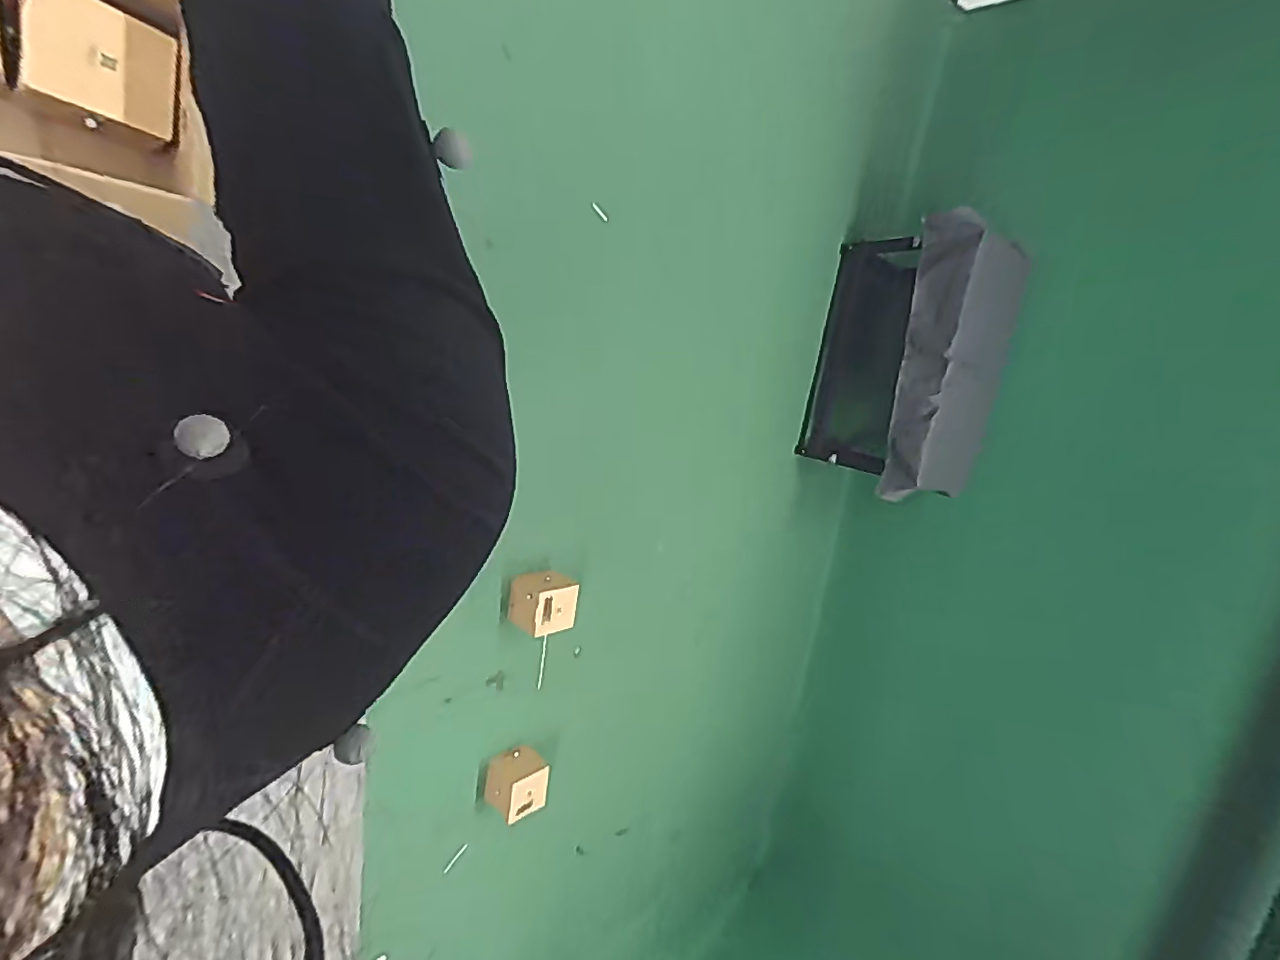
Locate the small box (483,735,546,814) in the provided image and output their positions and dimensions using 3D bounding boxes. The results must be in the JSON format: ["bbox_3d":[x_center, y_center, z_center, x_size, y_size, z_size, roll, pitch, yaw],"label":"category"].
[{"bbox_3d":[-0.487,1.121,2.072,0.168,0.176,0.179,-3,106,-47],"label":"small box"}]
